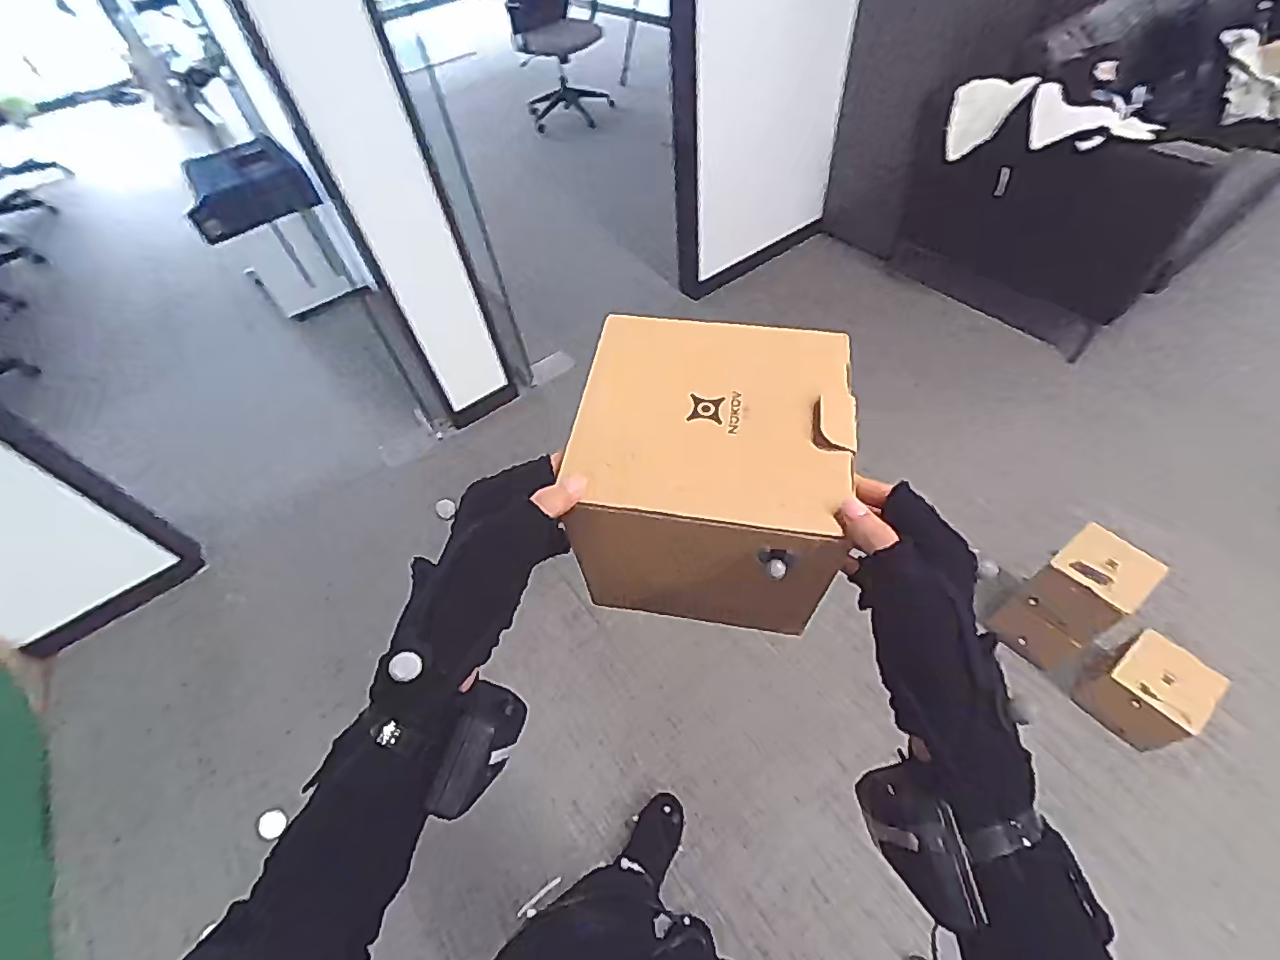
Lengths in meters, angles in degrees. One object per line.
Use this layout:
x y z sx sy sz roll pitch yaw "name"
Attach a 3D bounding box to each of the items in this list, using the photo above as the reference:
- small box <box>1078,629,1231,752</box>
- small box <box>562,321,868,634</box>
1.156 0.480 1.231 0.179 0.176 0.168 -34 55 -20 "small box"
0.057 0.004 0.412 0.179 0.176 0.168 7 57 8 "small box"
